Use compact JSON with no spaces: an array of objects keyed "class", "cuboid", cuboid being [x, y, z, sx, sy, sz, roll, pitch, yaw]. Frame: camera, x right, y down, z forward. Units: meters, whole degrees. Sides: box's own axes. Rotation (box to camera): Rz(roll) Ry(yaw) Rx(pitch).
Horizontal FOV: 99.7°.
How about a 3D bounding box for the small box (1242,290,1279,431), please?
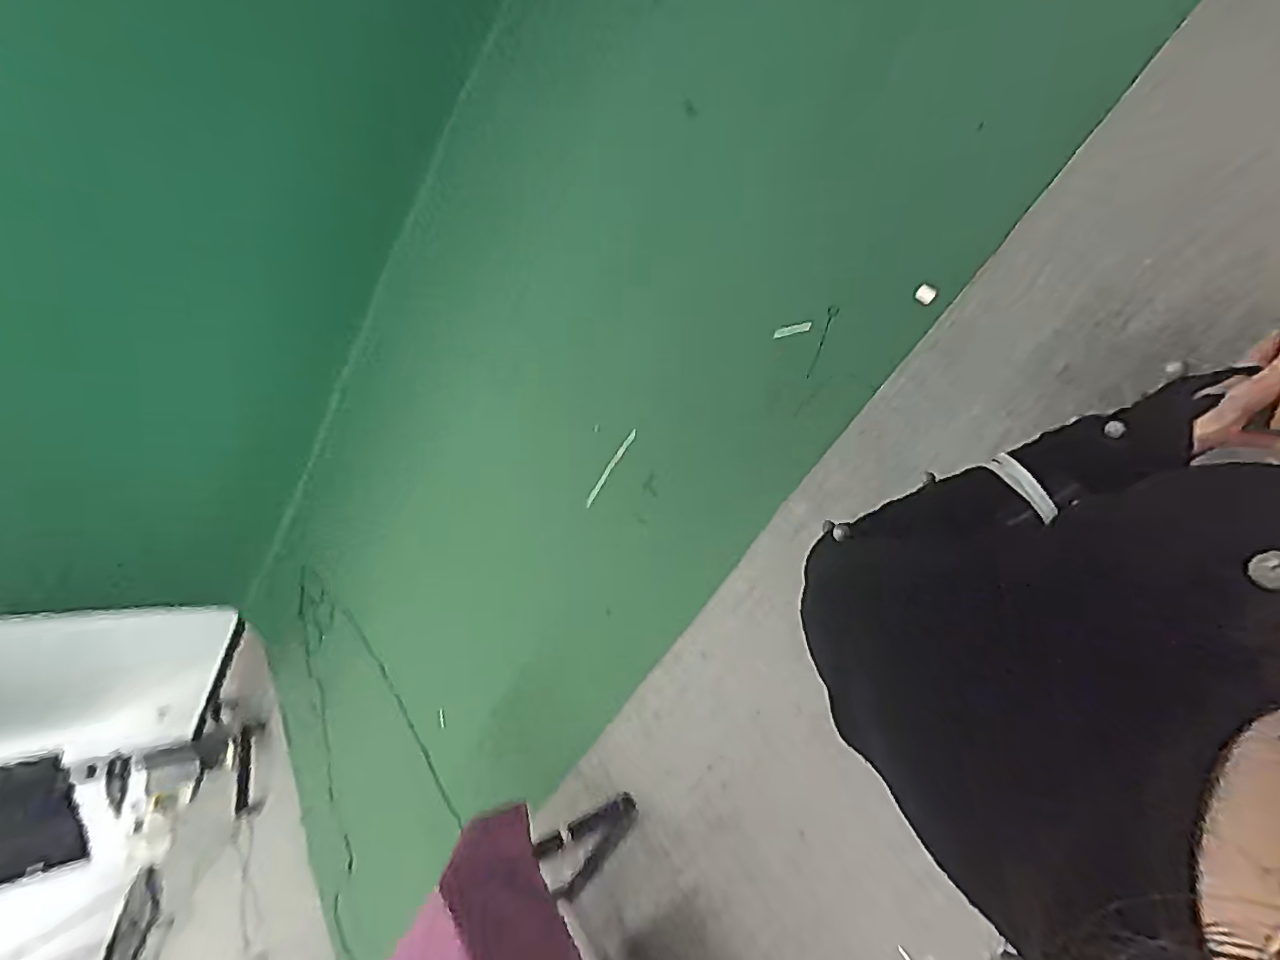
[{"class":"small box","cuboid":[0.507,-0.099,0.314,0.168,0.176,0.179,18,106,35]}]
